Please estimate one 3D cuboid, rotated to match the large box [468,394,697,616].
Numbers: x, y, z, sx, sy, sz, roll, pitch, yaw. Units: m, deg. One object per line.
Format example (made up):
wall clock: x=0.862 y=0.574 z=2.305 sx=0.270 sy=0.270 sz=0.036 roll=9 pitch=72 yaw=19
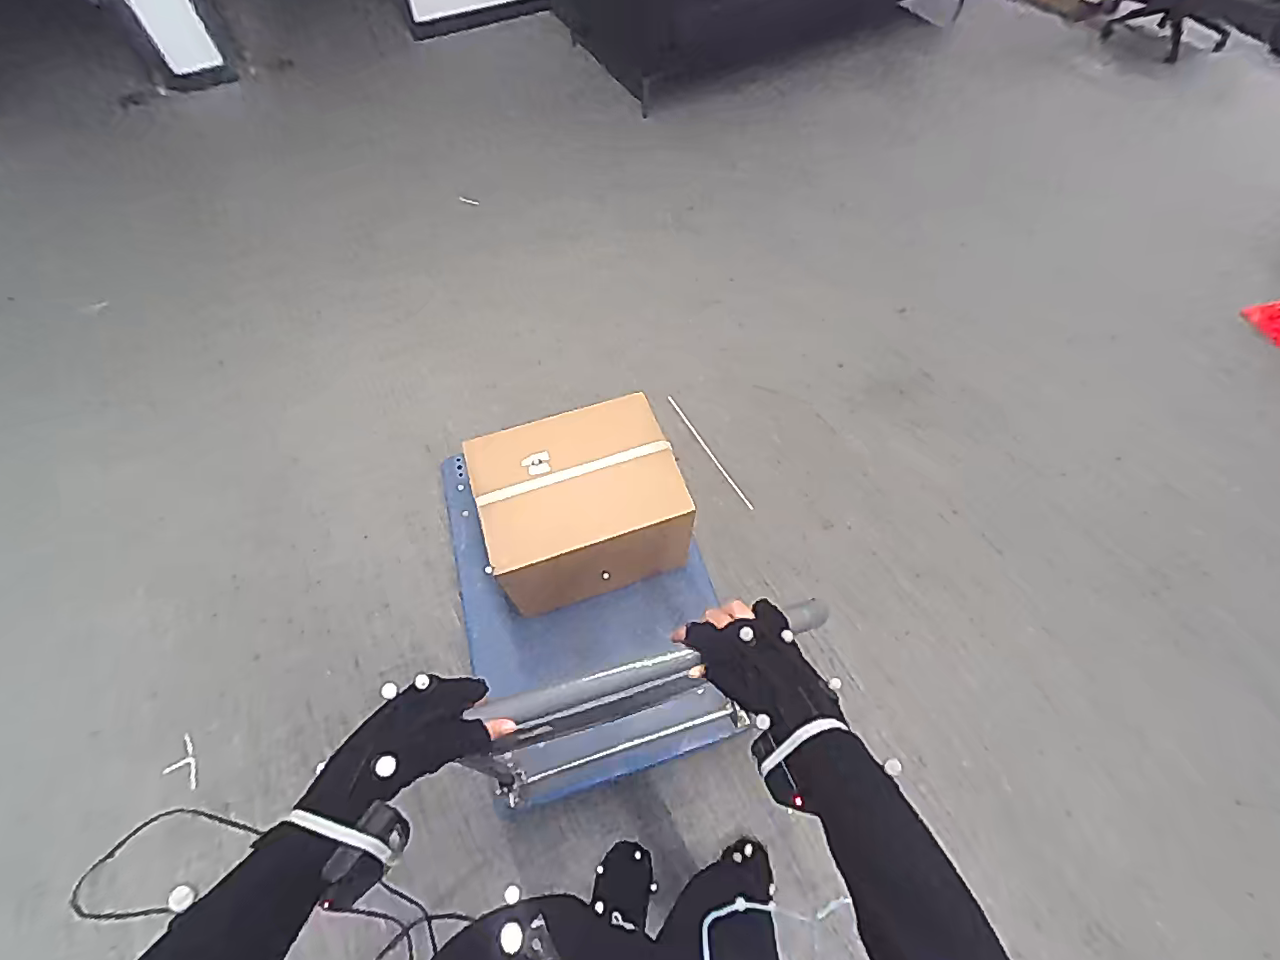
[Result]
large box: x=-0.121 y=0.066 z=1.228 sx=0.408 sy=0.320 sz=0.320 roll=-19 pitch=62 yaw=-9
